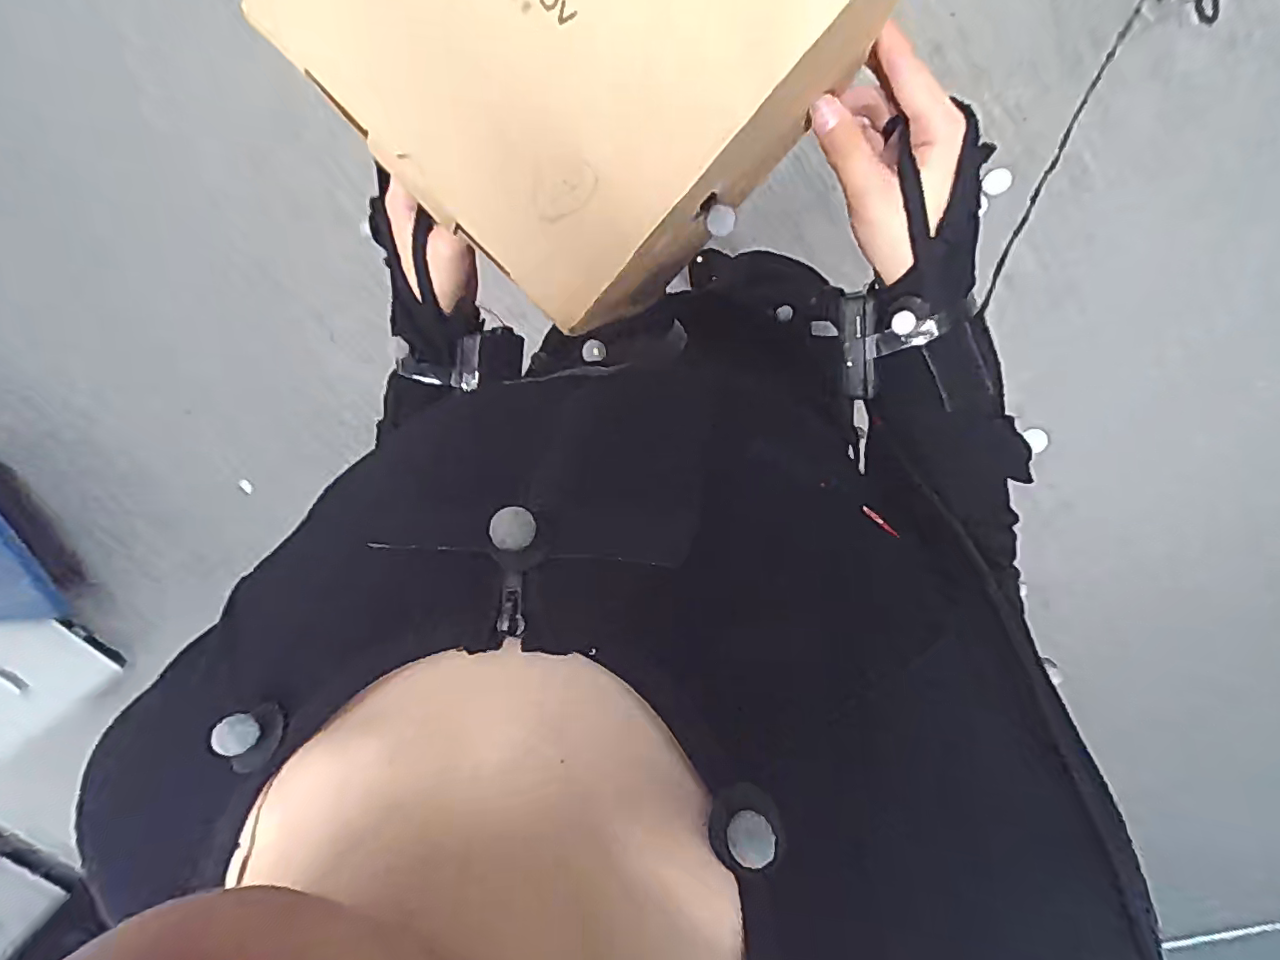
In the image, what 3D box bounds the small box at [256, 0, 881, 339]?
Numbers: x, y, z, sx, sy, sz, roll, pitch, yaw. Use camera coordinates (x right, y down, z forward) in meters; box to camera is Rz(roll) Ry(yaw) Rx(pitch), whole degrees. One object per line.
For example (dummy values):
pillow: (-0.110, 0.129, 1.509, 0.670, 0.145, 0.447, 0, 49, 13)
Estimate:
small box: (-0.013, -0.191, 0.249, 0.168, 0.176, 0.179, 45, 113, -6)
